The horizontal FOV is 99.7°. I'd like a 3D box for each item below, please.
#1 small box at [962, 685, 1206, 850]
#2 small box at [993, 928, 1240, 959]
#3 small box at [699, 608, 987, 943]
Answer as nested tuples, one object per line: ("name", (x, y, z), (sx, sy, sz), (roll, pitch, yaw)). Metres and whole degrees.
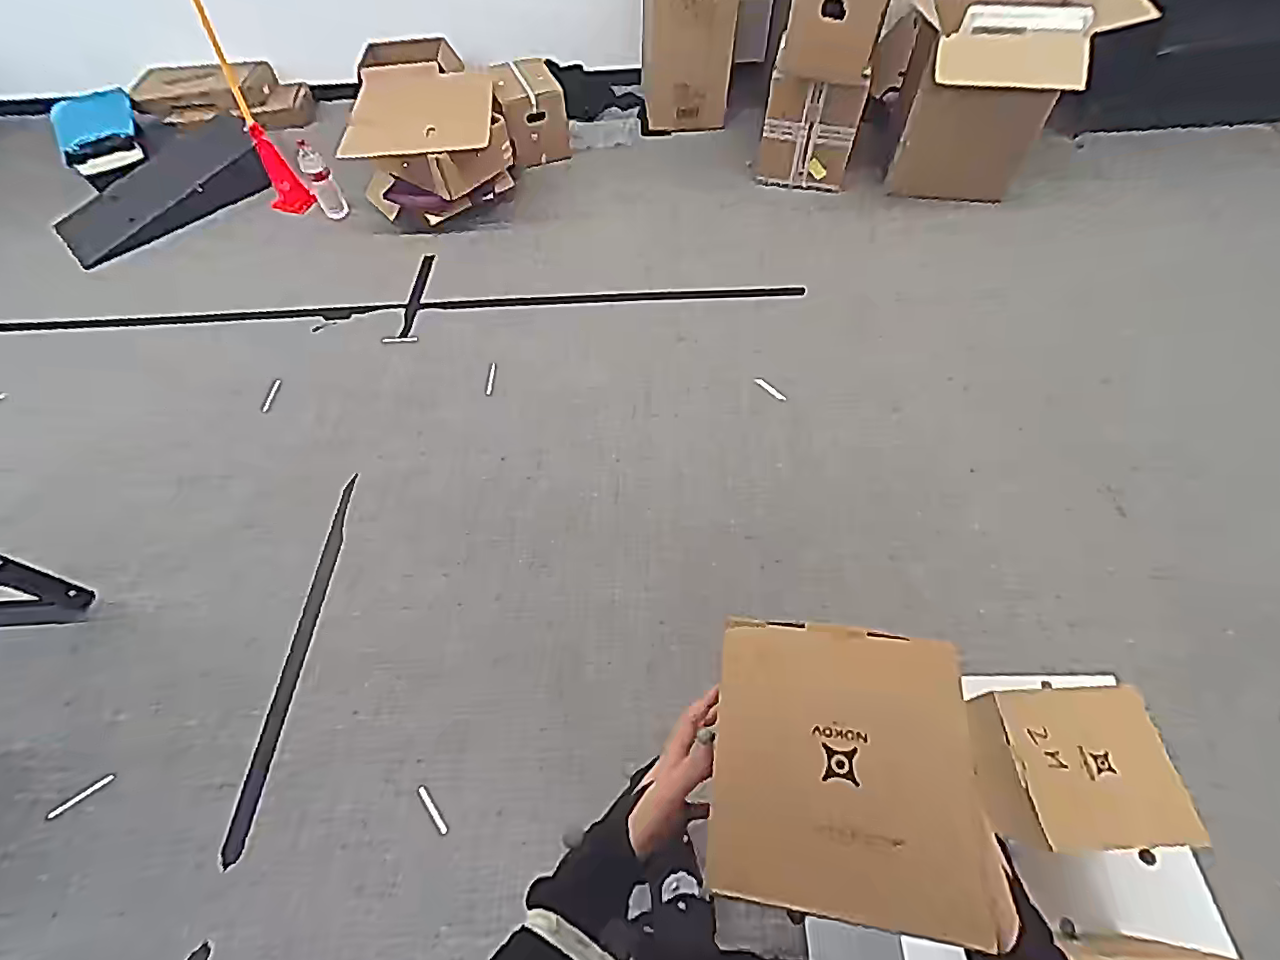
("small box", (0.515, 0.362, 0.682), (0.179, 0.176, 0.168), (-3, 57, 1))
("small box", (0.496, 0.573, 0.549), (0.179, 0.176, 0.168), (0, 56, 3))
("small box", (0.140, 0.221, 0.427), (0.168, 0.176, 0.179), (5, 59, 12))
